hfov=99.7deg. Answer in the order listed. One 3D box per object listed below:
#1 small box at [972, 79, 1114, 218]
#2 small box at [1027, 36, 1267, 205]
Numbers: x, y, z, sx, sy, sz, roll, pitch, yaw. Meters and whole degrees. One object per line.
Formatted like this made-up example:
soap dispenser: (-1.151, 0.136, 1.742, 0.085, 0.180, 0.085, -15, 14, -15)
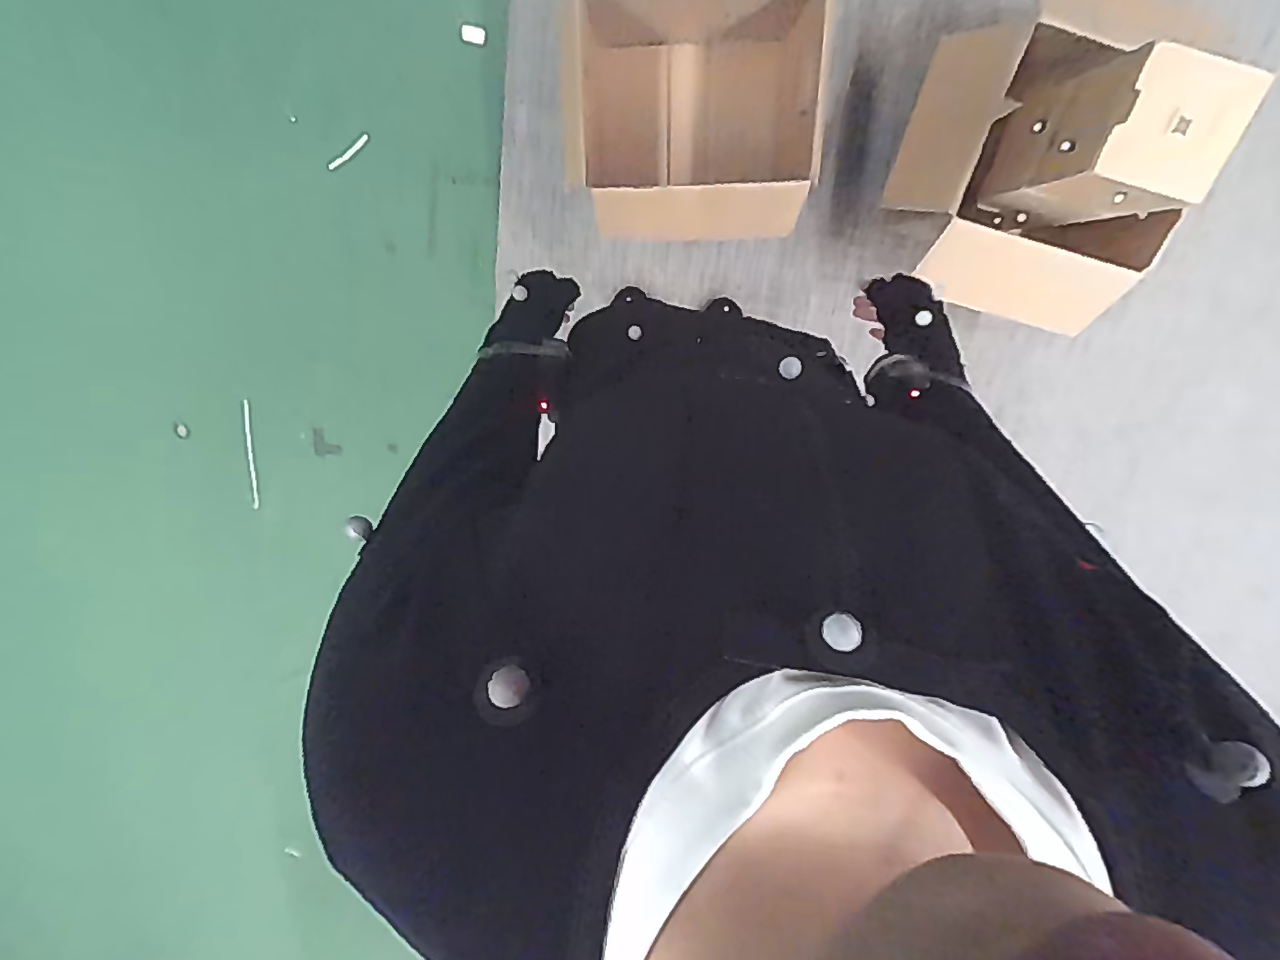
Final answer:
small box: (0.765, -0.593, 0.991, 0.179, 0.176, 0.168, 14, 110, -3)
small box: (0.759, -0.539, 0.838, 0.179, 0.176, 0.168, 13, 112, -3)
